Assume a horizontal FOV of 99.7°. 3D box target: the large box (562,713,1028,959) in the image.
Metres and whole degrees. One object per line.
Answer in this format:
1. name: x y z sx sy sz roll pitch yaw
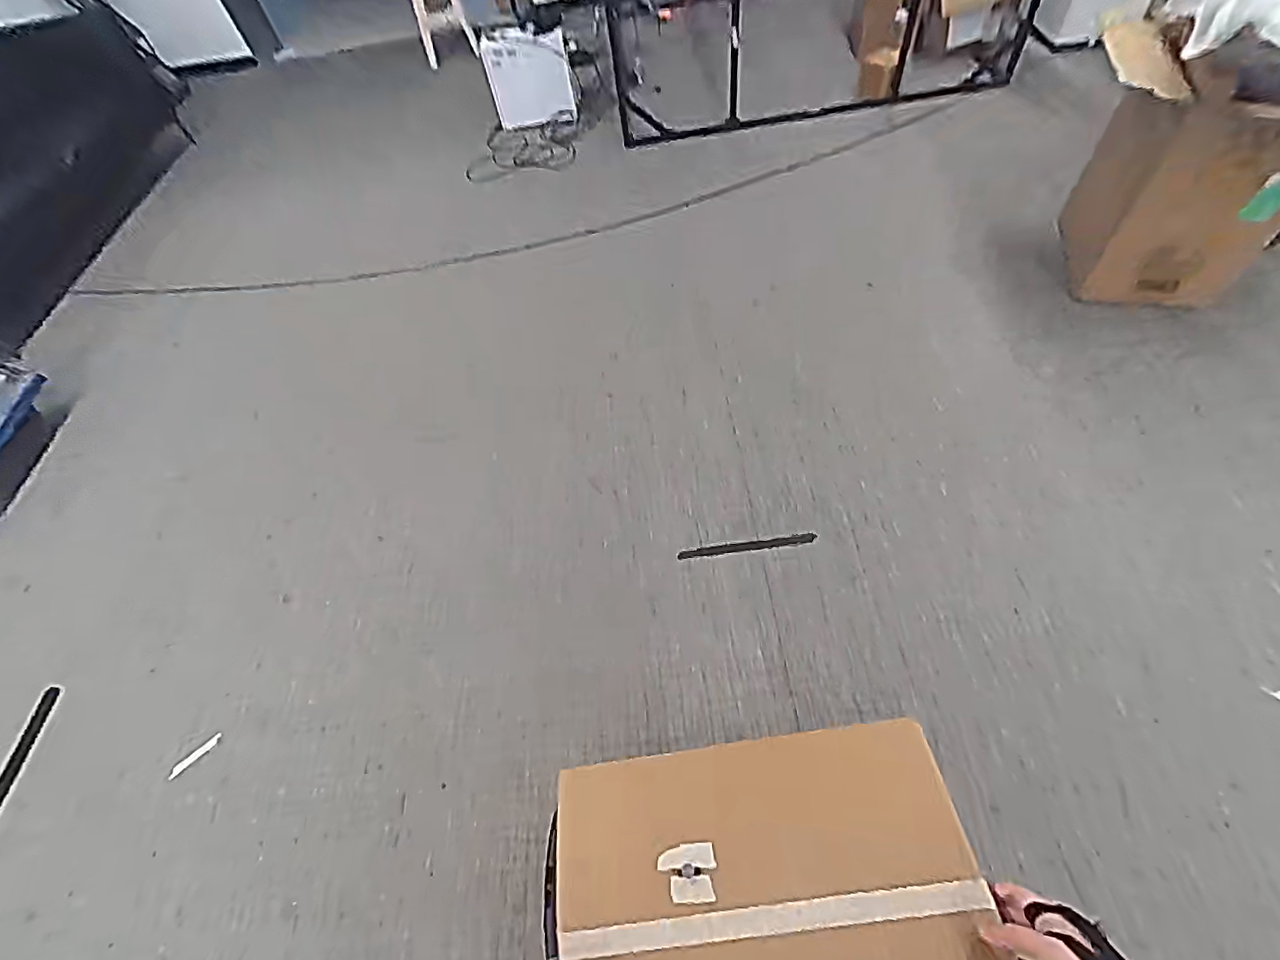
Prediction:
1. large box: 0.155 0.492 0.601 0.408 0.320 0.320 -13 49 7

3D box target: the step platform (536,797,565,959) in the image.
1. step platform: 0.151 0.773 1.034 0.684 0.204 0.286 -2 56 8
